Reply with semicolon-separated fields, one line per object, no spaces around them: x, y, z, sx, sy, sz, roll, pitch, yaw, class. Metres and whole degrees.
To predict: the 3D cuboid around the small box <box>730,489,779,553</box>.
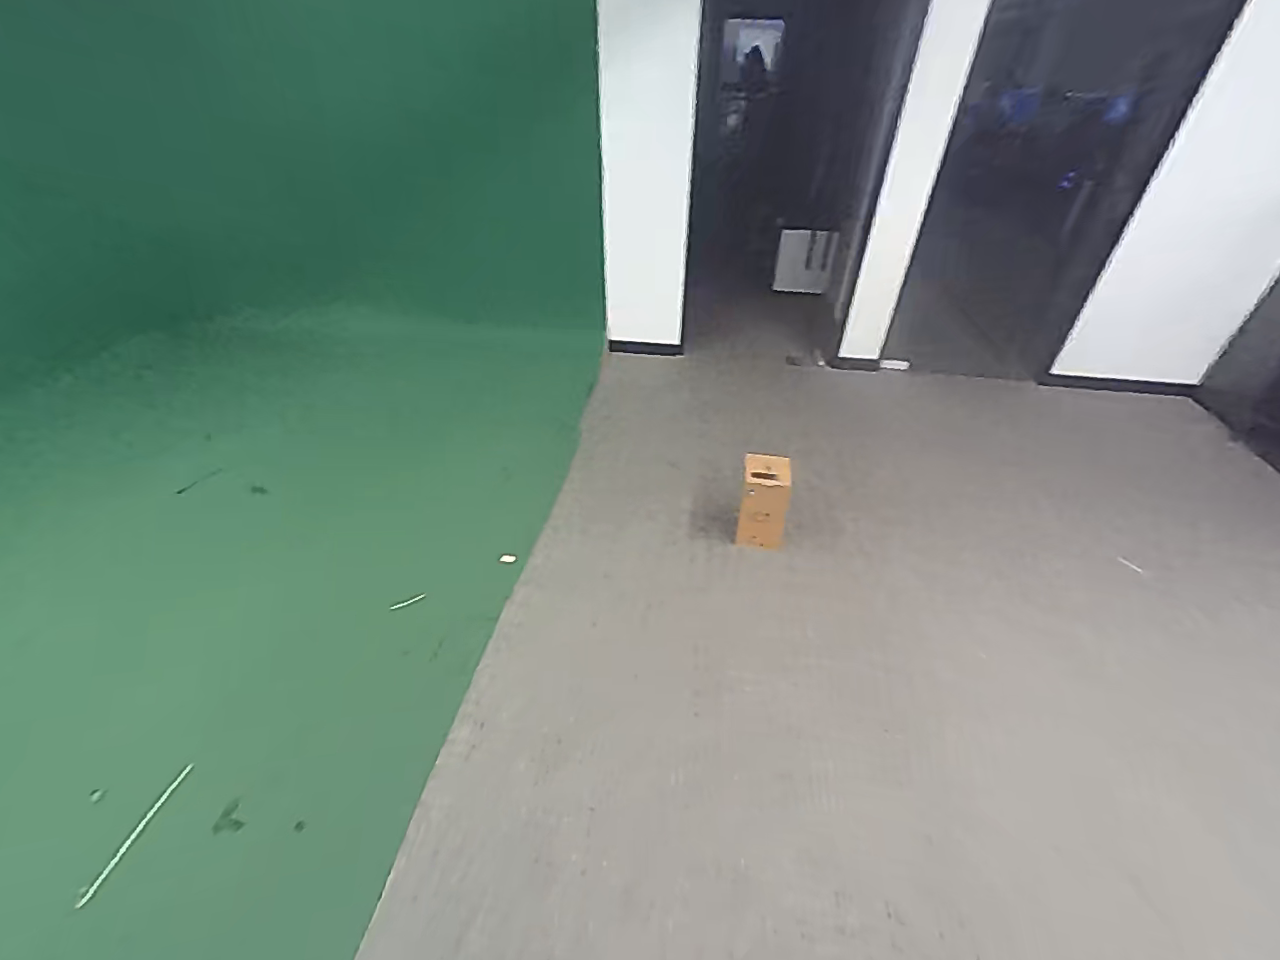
0.453;0.164;2.152;0.168;0.176;0.179;7;39;6;small box
